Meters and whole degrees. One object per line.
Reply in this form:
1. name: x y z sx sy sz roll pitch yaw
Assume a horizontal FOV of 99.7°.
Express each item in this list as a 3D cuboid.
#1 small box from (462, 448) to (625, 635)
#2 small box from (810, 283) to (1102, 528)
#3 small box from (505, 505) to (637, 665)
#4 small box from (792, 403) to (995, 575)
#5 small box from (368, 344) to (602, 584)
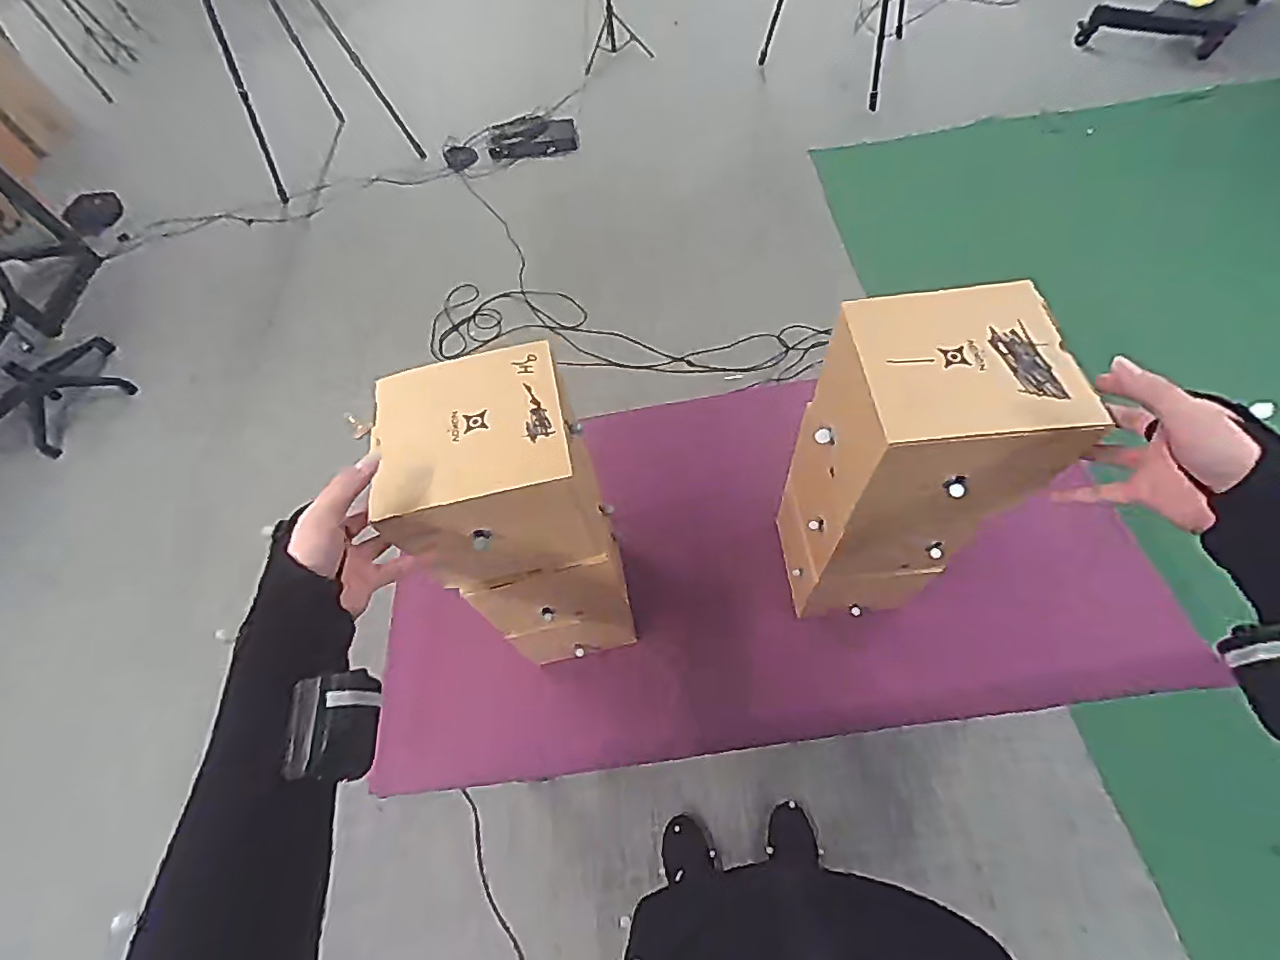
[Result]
1. small box: -0.123 0.079 0.701 0.168 0.176 0.179 -15 59 -1
2. small box: 0.281 -0.064 0.534 0.179 0.176 0.168 -5 59 5
3. small box: -0.106 0.166 0.837 0.168 0.176 0.179 -13 58 1
4. small box: 0.297 0.011 0.679 0.168 0.176 0.179 -7 59 3
5. small box: -0.150 -0.007 0.564 0.179 0.176 0.168 -14 59 0
